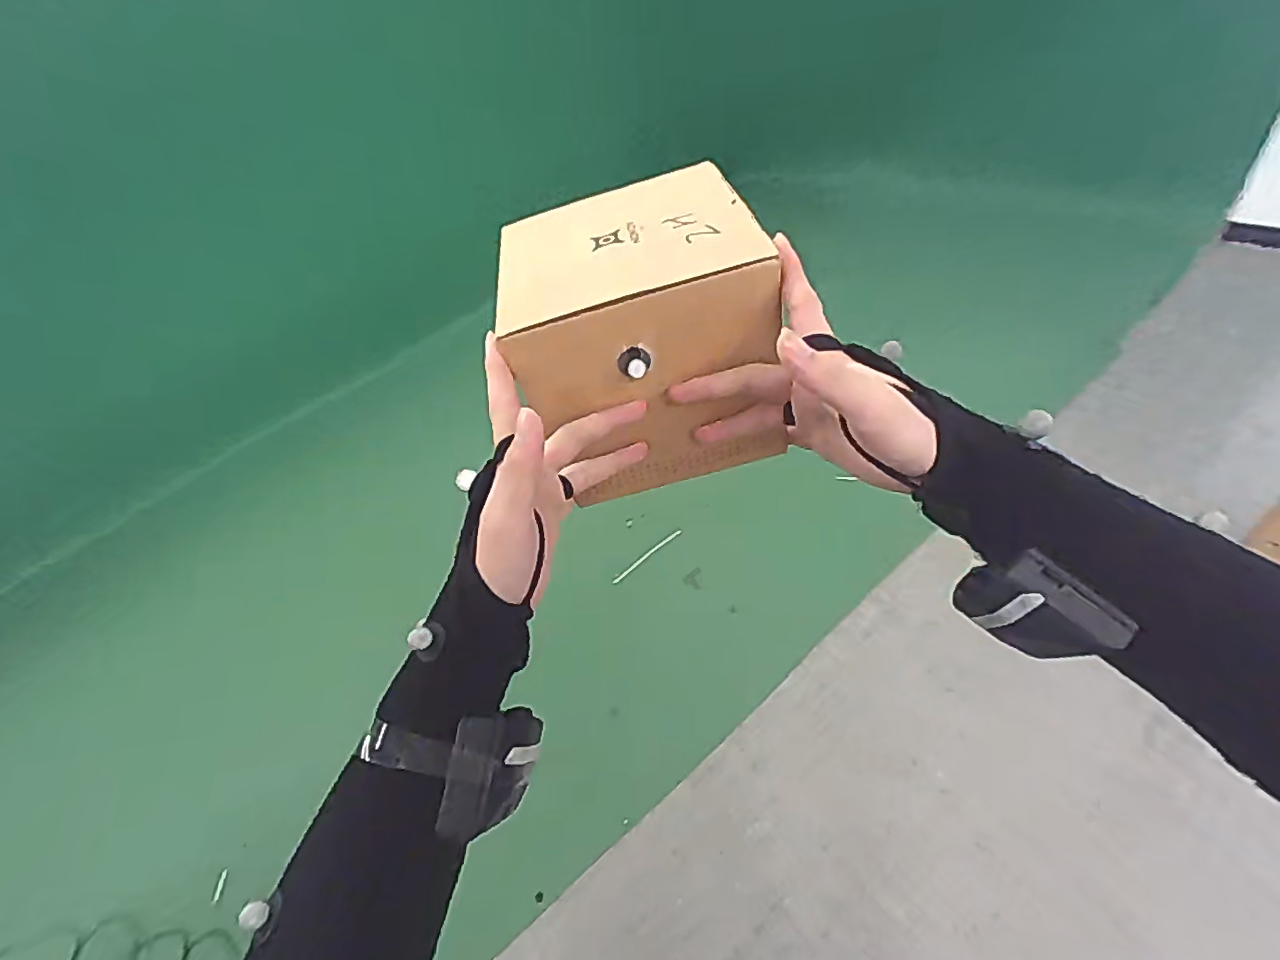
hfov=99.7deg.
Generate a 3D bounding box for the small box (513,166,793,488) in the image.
[{"bbox_3d":[0.015,-0.115,0.433,0.179,0.176,0.168,-14,47,4],"label":"small box"}]

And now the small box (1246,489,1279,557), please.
[{"bbox_3d":[1.643,0.099,1.311,0.179,0.176,0.168,-38,48,-19],"label":"small box"}]
